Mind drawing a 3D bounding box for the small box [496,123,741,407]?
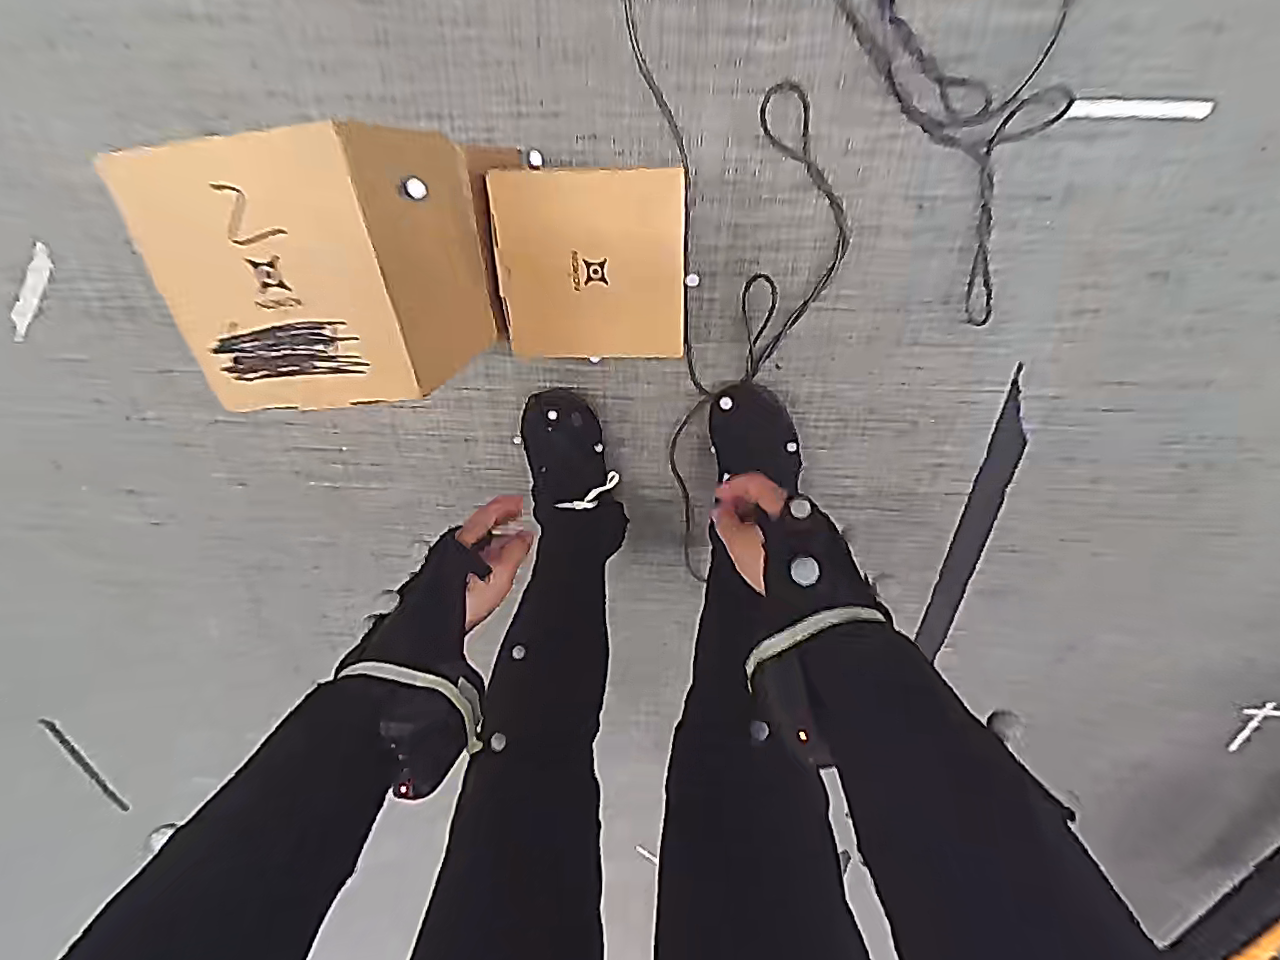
[{"bbox_3d":[-0.029,-0.190,0.507,0.168,0.176,0.179,15,131,-20],"label":"small box"}]
